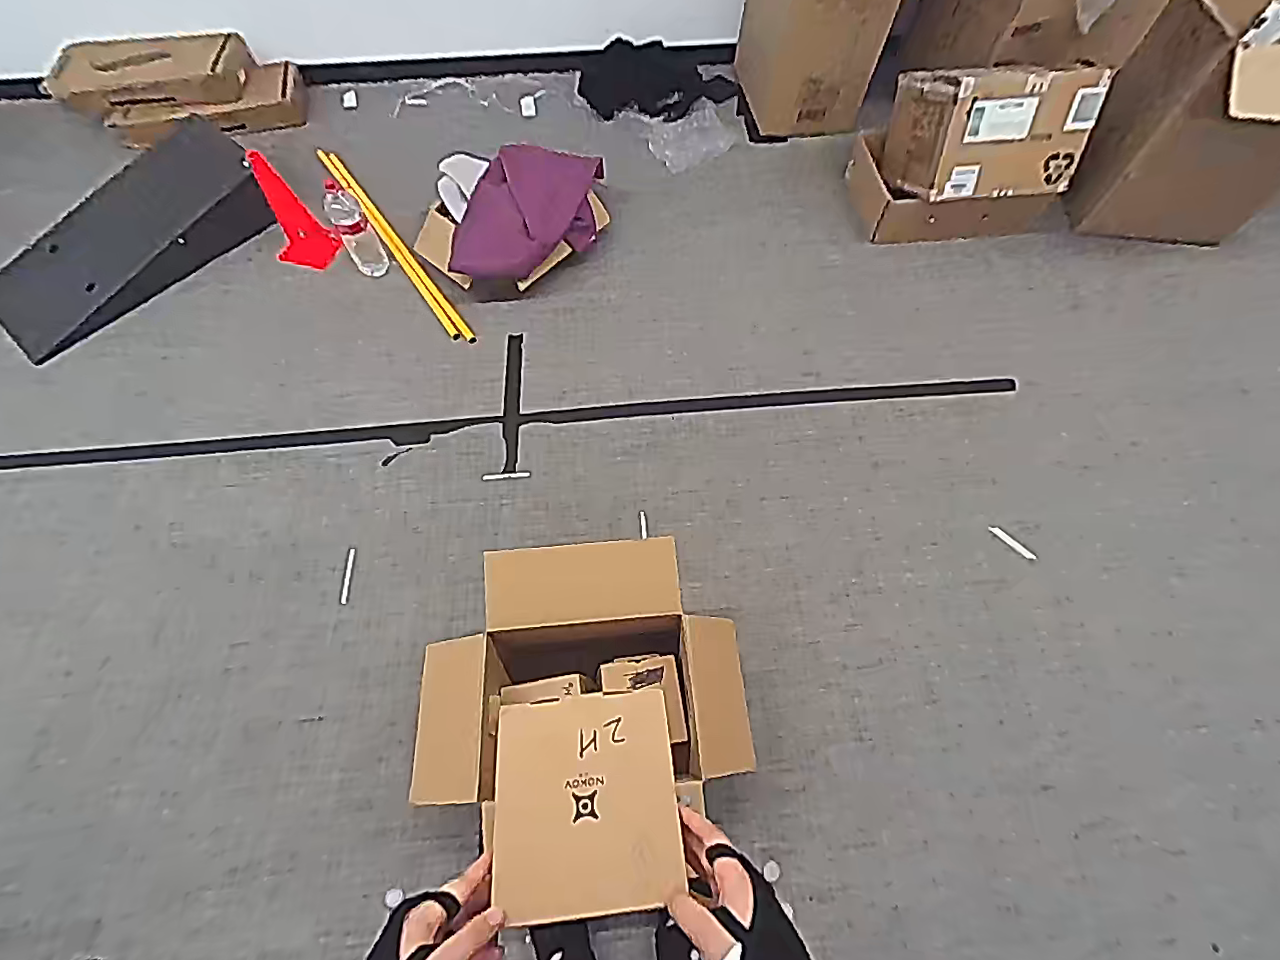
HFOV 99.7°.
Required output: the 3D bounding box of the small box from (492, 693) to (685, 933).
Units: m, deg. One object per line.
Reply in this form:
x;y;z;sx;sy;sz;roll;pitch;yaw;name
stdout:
-0.046;0.337;0.556;0.168;0.176;0.179;-5;53;-3;small box
